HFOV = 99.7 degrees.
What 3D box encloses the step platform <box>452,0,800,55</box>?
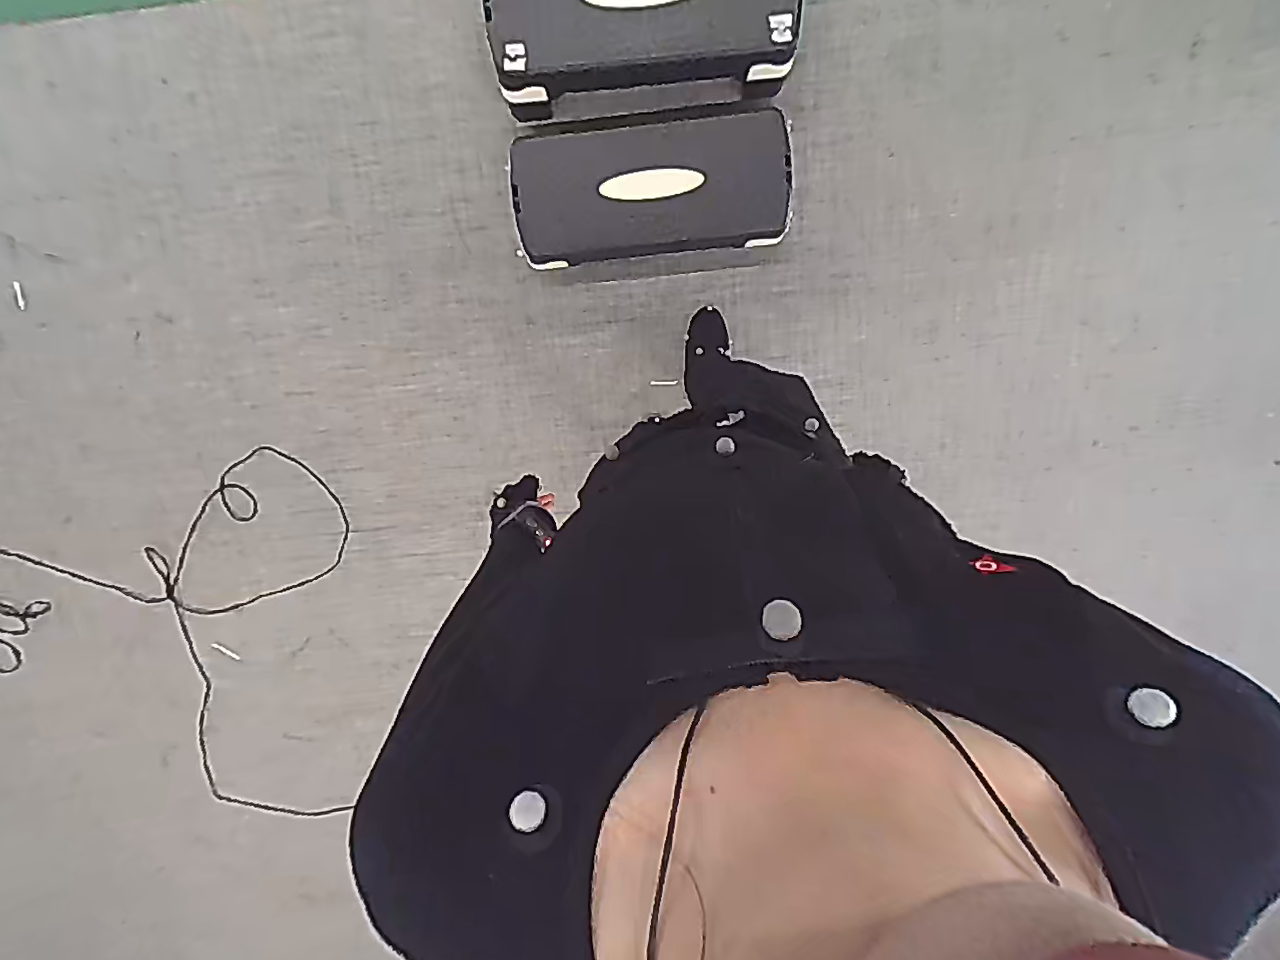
[{"bbox_3d":[-0.023,-1.006,0.985,0.684,0.204,0.286,-5,102,2],"label":"step platform"}]
